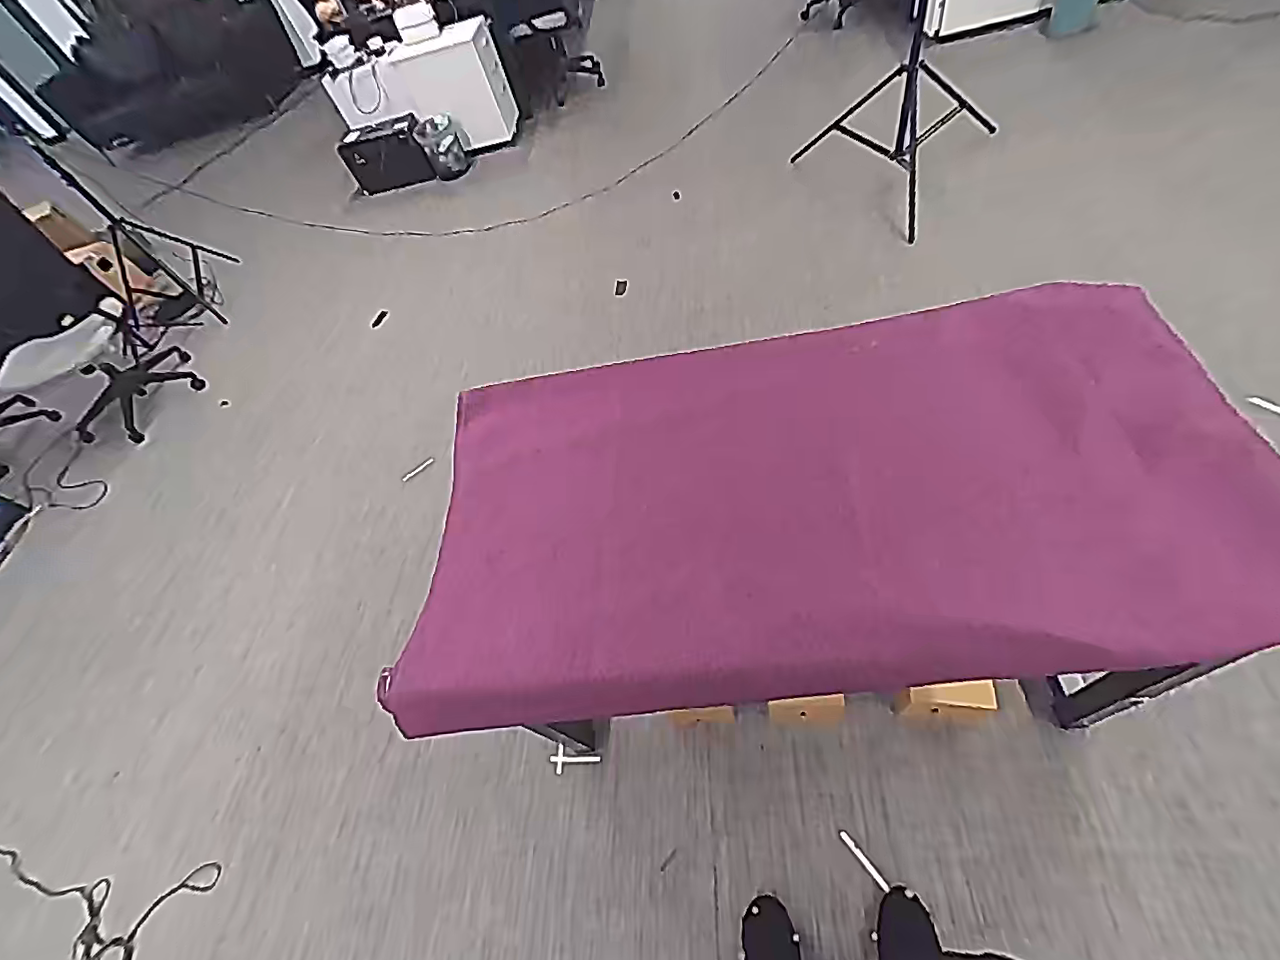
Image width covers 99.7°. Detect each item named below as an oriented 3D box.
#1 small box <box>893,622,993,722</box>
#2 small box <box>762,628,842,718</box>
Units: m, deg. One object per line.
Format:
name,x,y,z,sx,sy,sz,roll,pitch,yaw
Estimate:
small box,0.690,0.448,1.251,0.168,0.176,0.179,0,56,16
small box,0.389,0.473,1.313,0.168,0.176,0.179,-5,54,11
